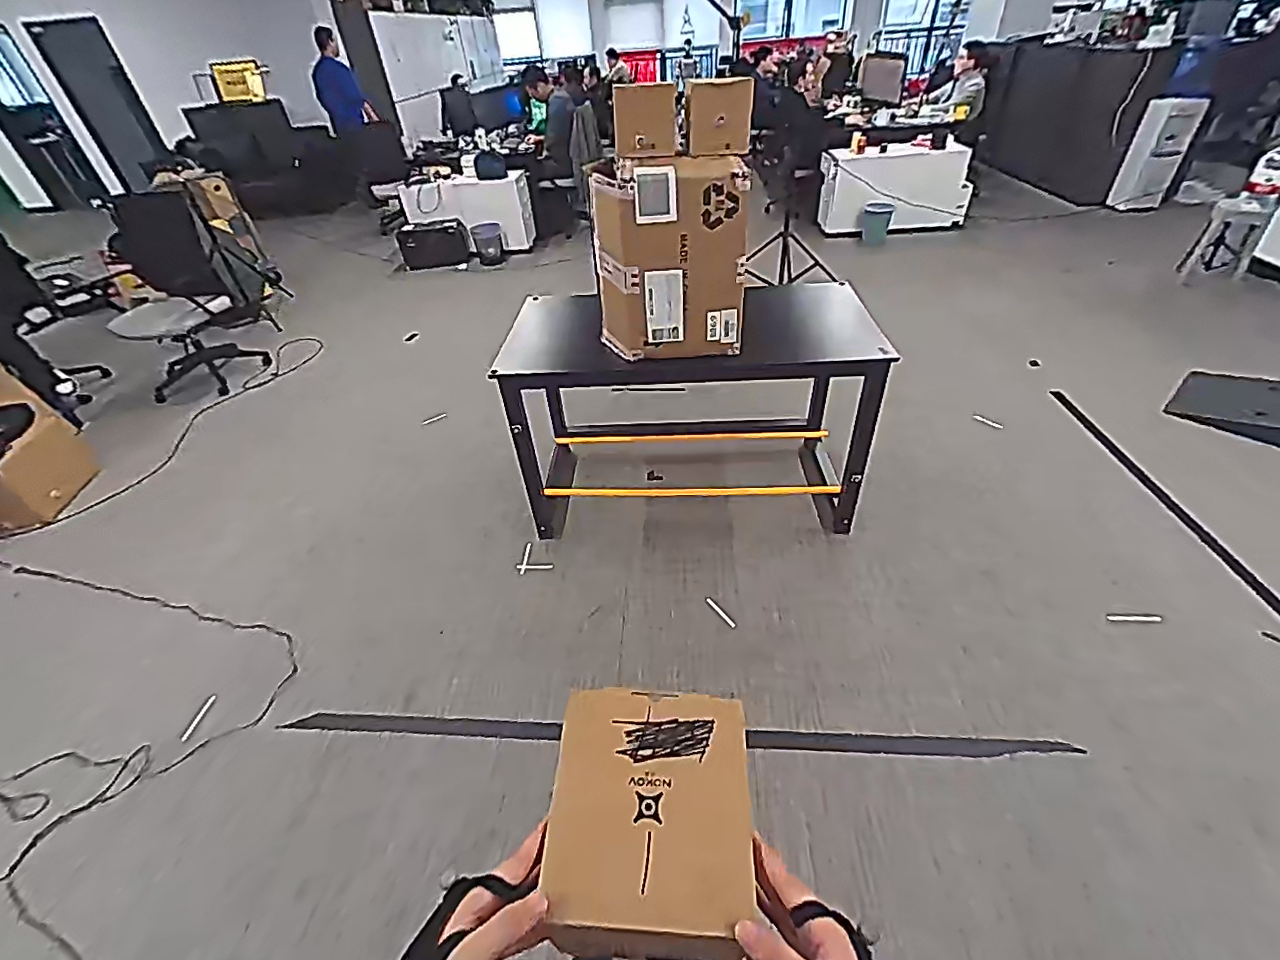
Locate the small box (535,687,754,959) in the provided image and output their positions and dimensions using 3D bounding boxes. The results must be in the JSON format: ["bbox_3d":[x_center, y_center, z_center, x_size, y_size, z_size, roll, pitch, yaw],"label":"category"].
[{"bbox_3d":[0.009,0.321,0.510,0.168,0.176,0.179,1,43,4],"label":"small box"}]

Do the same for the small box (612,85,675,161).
[{"bbox_3d":[0.008,-1.003,1.519,0.168,0.176,0.179,-4,38,0],"label":"small box"}]

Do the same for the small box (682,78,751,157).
[{"bbox_3d":[0.208,-1.010,1.511,0.168,0.176,0.179,-2,39,-1],"label":"small box"}]
